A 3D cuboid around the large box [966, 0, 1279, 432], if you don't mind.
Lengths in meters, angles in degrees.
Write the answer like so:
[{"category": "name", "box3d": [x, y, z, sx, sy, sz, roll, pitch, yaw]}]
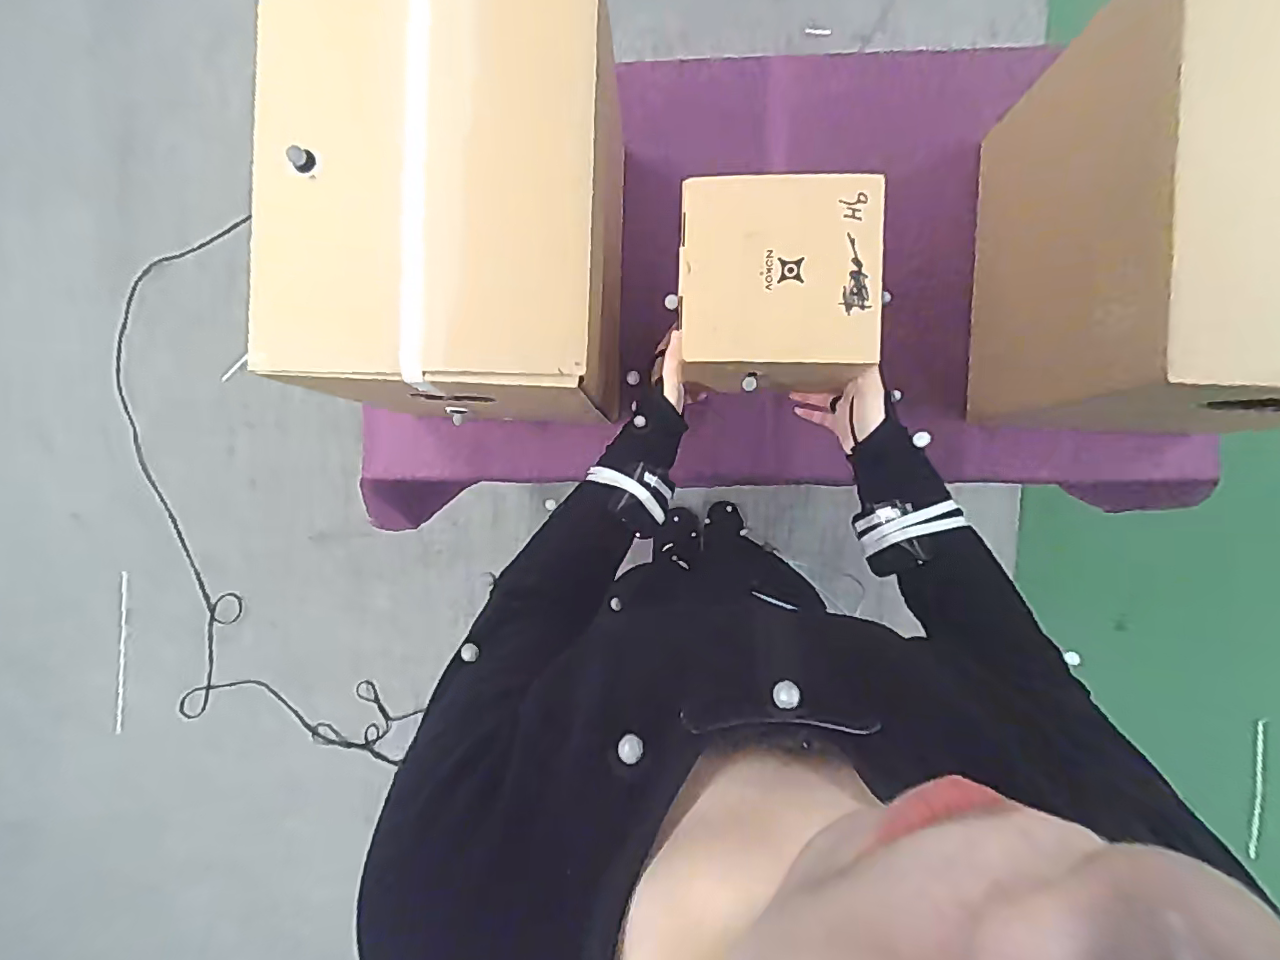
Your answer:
[{"category": "large box", "box3d": [0.613, -0.272, 0.612, 0.320, 0.320, 0.408, 3, 90, 3]}]
